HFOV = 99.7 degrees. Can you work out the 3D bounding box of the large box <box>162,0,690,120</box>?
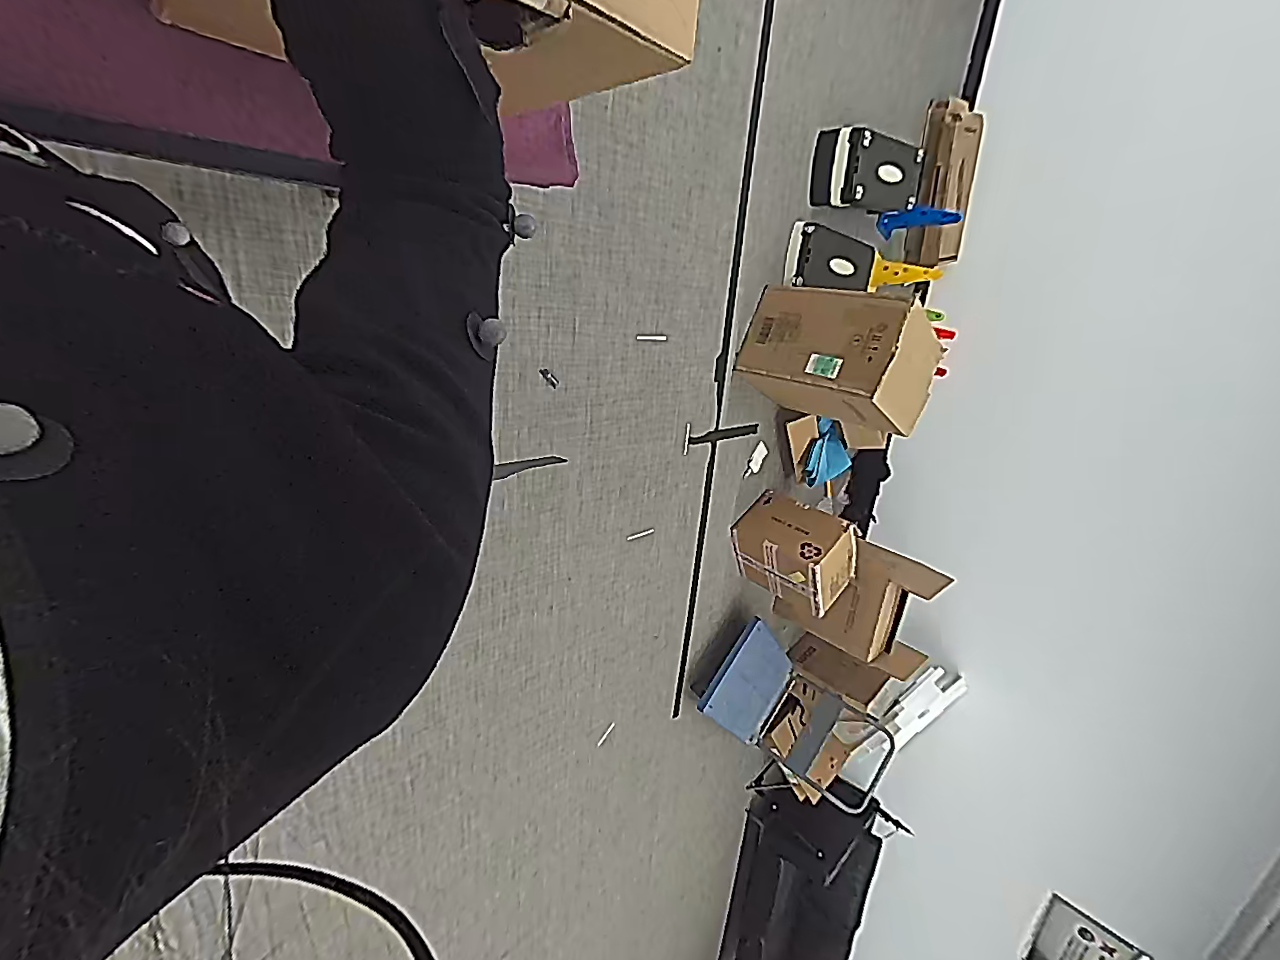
[{"bbox_3d":[-0.164,-0.538,0.376,0.320,0.320,0.408,-14,116,-43],"label":"large box"}]
